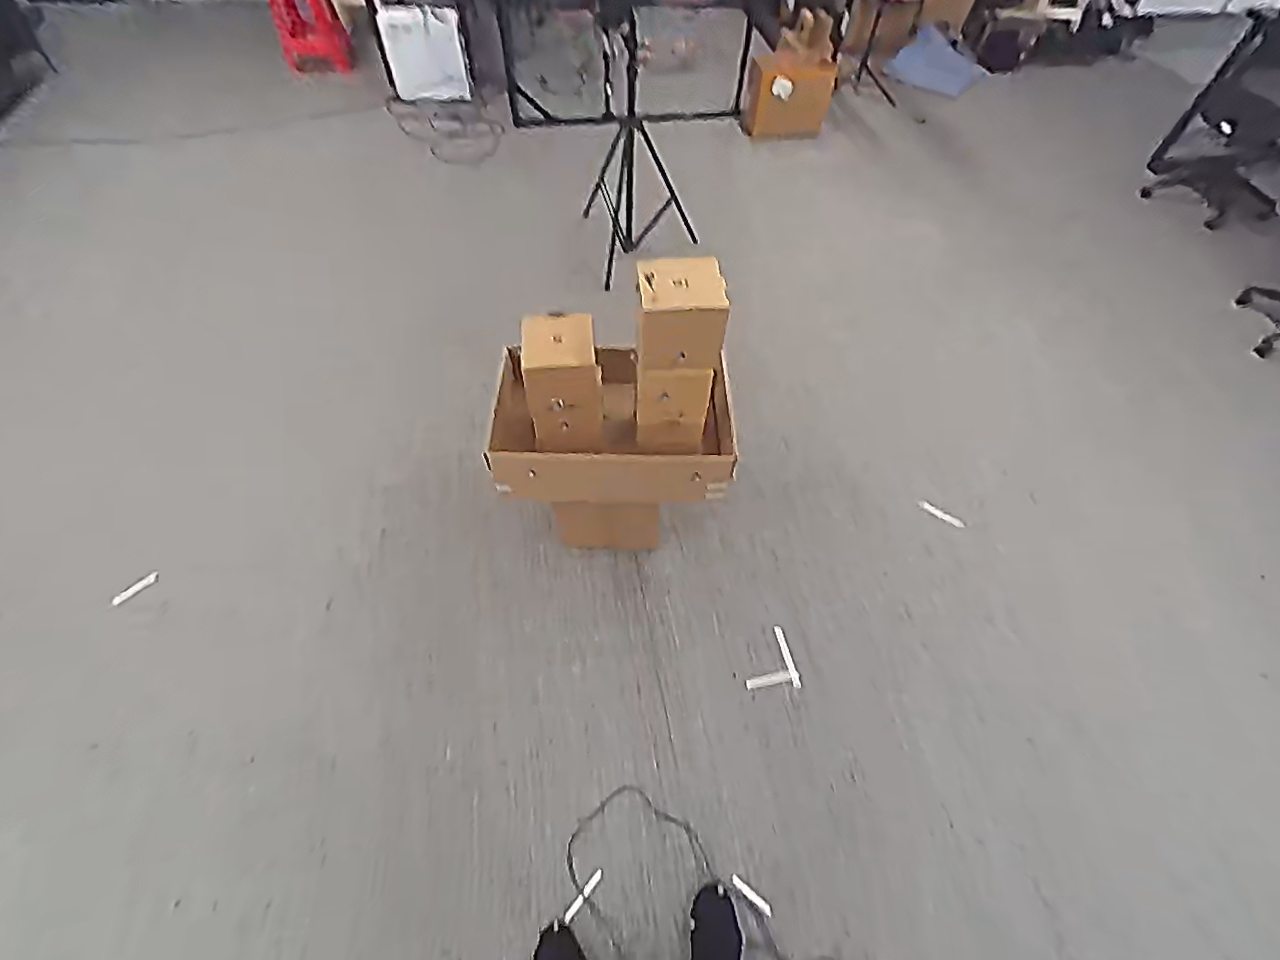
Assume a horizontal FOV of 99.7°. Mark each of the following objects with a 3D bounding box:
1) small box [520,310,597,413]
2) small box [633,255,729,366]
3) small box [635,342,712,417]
[{"bbox_3d":[-0.192,-0.282,1.294,0.168,0.176,0.179,-4,56,-4],"label":"small box"},{"bbox_3d":[0.080,-0.359,1.160,0.179,0.176,0.168,-3,55,-4],"label":"small box"},{"bbox_3d":[0.073,-0.264,1.293,0.168,0.176,0.179,-1,55,-3],"label":"small box"}]
